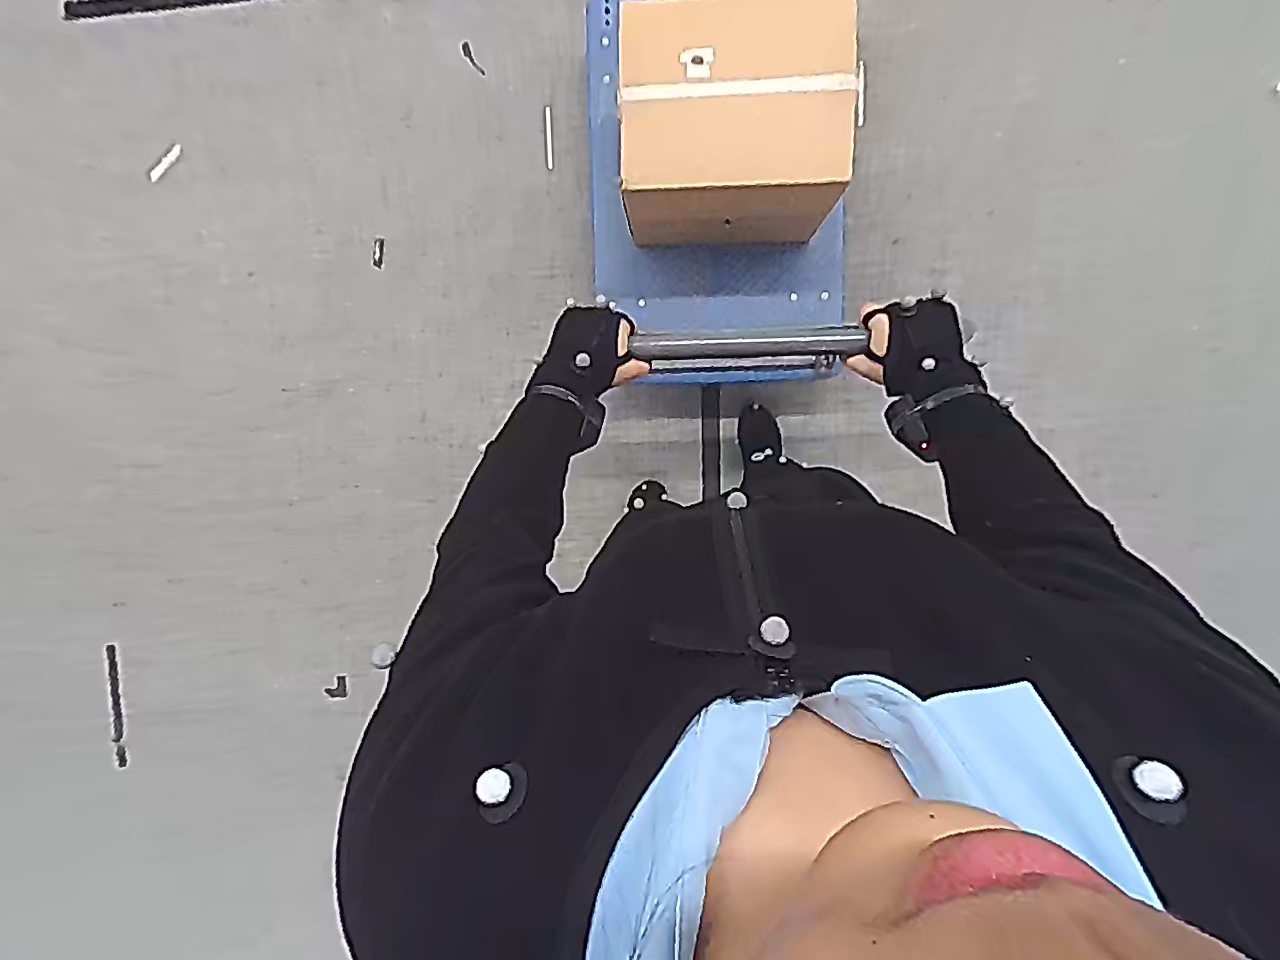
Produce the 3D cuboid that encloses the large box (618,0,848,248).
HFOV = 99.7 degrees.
[{"bbox_3d":[0.178,-0.685,1.101,0.408,0.320,0.320,0,95,5],"label":"large box"}]
